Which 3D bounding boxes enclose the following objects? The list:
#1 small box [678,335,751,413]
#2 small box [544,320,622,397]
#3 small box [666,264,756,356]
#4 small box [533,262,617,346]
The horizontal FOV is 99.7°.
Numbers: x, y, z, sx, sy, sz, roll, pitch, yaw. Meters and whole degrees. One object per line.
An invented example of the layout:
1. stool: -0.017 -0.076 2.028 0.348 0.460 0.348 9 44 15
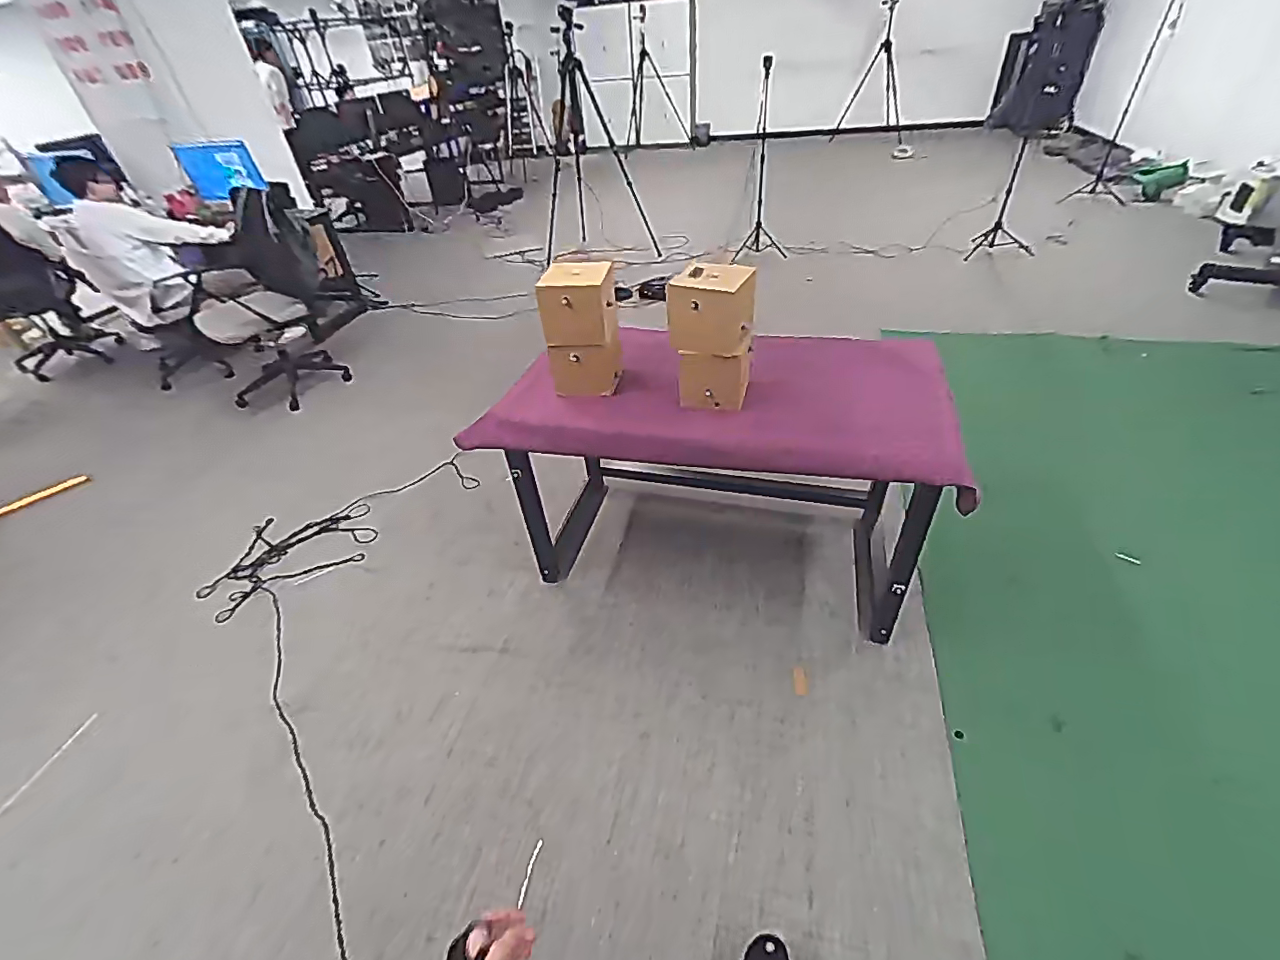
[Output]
1. small box: 0.201 -0.303 1.465 0.168 0.176 0.179 8 41 16
2. small box: -0.158 -0.354 1.569 0.179 0.176 0.168 4 41 11
3. small box: 0.178 -0.429 1.361 0.179 0.176 0.168 16 44 23
4. small box: -0.166 -0.474 1.462 0.179 0.176 0.168 2 41 10
